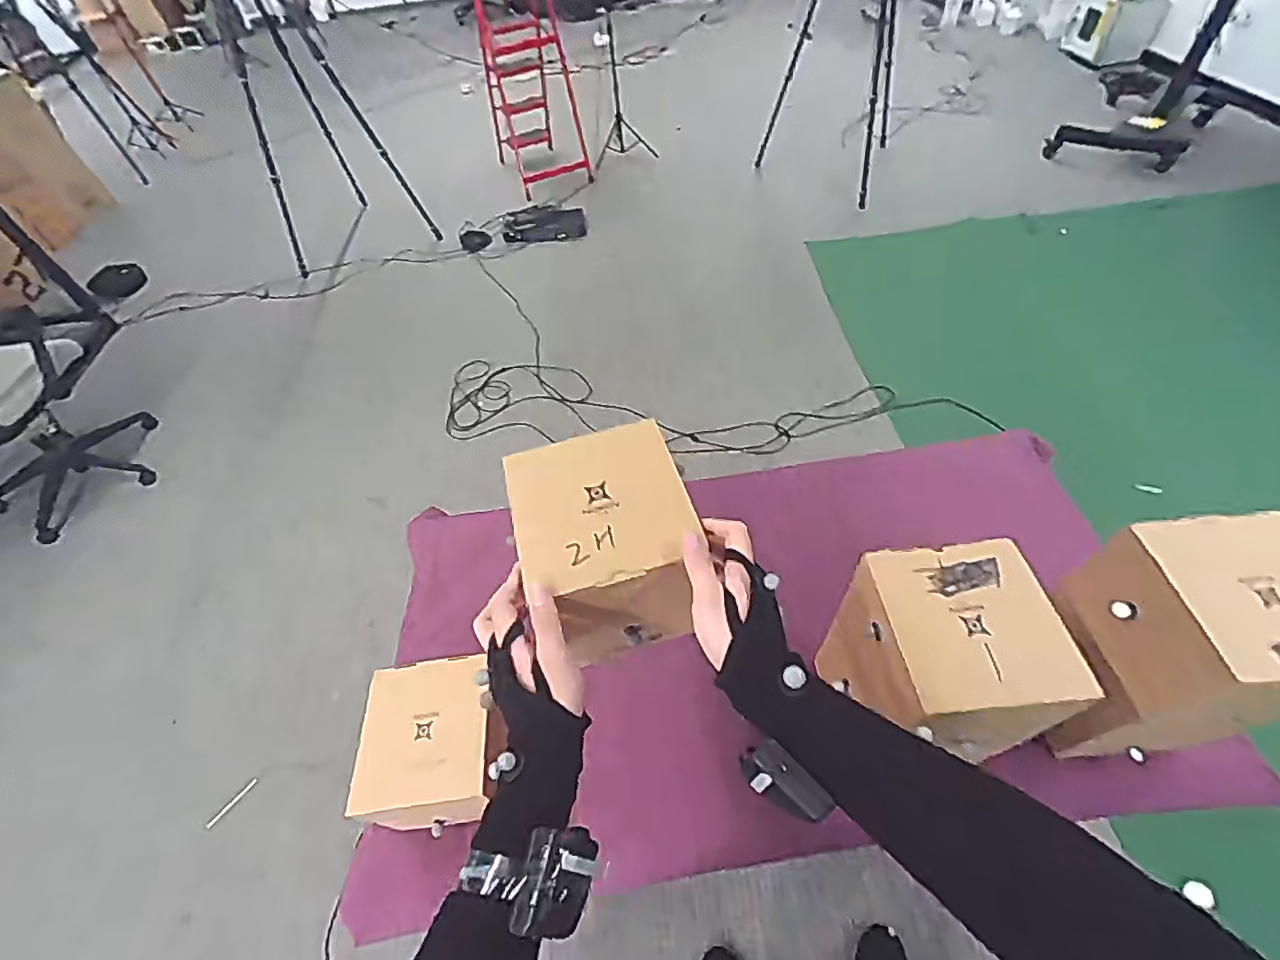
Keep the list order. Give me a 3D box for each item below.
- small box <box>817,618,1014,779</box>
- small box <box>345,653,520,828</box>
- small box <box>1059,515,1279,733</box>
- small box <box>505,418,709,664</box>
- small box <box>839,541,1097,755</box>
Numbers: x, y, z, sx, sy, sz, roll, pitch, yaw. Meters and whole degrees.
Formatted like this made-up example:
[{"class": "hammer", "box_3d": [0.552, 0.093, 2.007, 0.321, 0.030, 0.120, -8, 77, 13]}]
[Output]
[{"class": "small box", "box_3d": [0.354, 0.295, 0.736, 0.168, 0.176, 0.179, -7, 50, 2]}, {"class": "small box", "box_3d": [-0.269, 0.363, 0.751, 0.168, 0.176, 0.179, -8, 51, 1]}, {"class": "small box", "box_3d": [0.620, 0.161, 0.596, 0.168, 0.176, 0.179, -5, 51, 4]}, {"class": "small box", "box_3d": [-0.034, 0.067, 0.571, 0.168, 0.176, 0.179, -15, 53, -6]}, {"class": "small box", "box_3d": [0.340, 0.192, 0.610, 0.168, 0.176, 0.179, -6, 51, 3]}]
